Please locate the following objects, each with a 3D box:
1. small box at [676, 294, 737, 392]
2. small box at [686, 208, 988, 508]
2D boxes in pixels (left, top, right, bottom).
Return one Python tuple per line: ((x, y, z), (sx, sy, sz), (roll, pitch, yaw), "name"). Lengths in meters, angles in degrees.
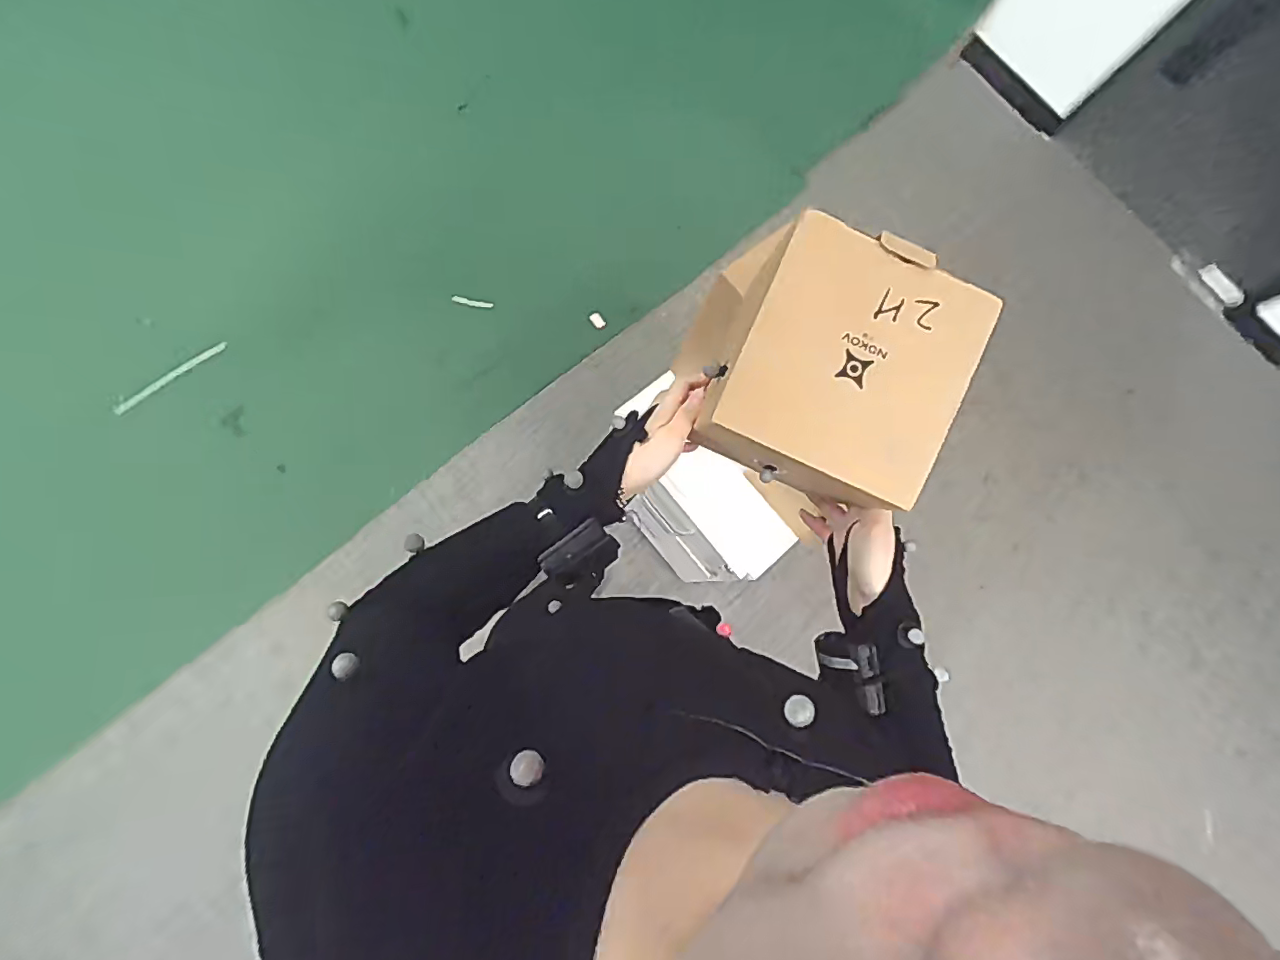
((0.185, -0.207, 0.948), (0.168, 0.176, 0.179), (-39, 87, -13), "small box")
((0.149, -0.090, 0.478), (0.168, 0.176, 0.179), (23, 89, -4), "small box")
